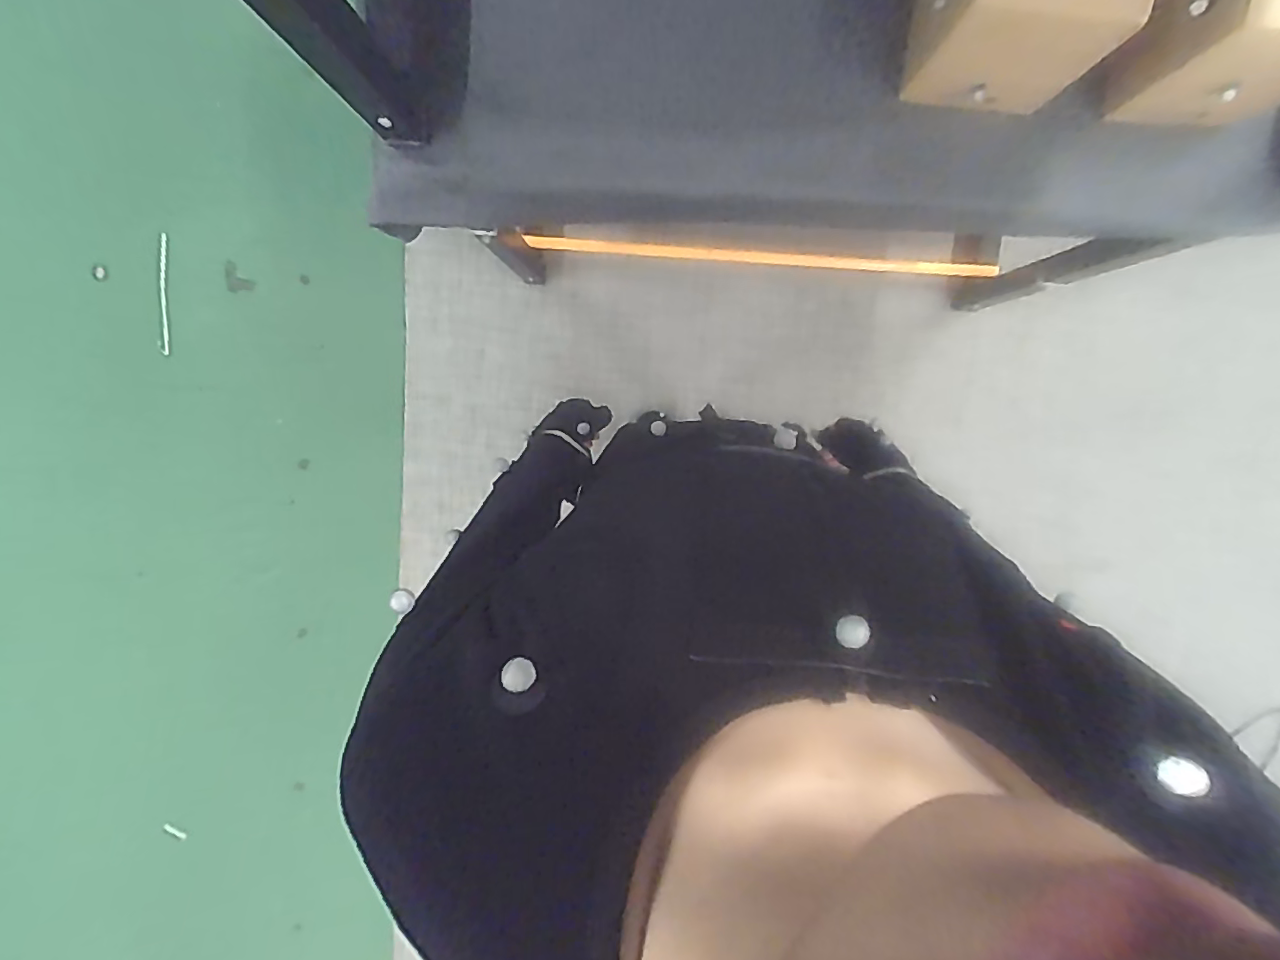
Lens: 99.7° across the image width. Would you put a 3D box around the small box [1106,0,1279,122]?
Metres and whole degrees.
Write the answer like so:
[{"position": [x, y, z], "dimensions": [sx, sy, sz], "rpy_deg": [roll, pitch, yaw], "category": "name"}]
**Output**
[{"position": [0.655, -0.517, 0.578], "dimensions": [0.168, 0.176, 0.179], "rpy_deg": [4, 97, 1], "category": "small box"}]
